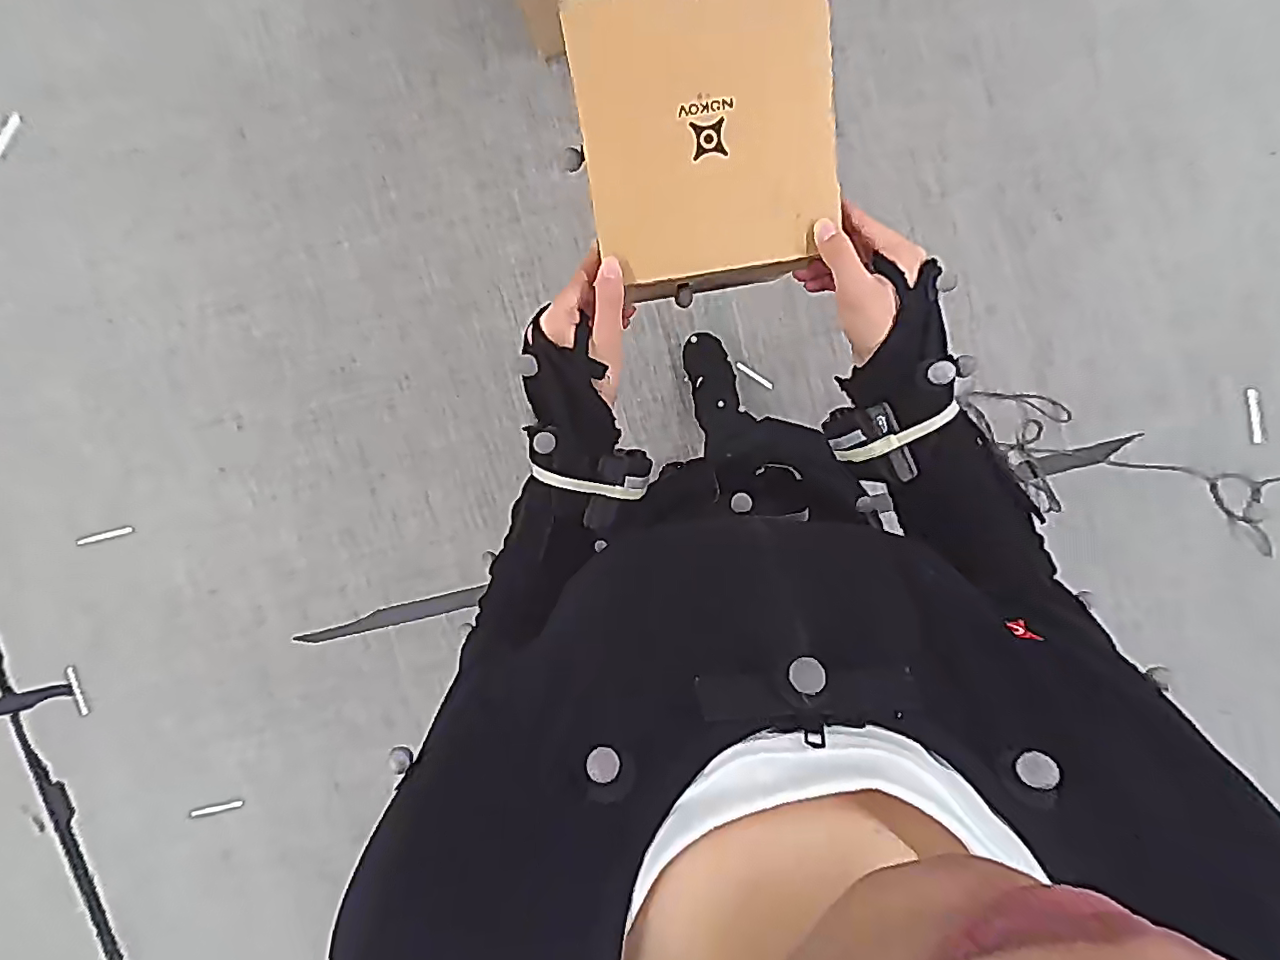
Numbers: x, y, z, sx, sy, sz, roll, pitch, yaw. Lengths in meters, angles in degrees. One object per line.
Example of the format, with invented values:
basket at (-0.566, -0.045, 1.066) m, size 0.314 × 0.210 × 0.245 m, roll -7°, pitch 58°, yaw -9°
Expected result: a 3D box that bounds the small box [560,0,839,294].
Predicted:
small box at (0.042, -0.249, 0.425) m, size 0.168 × 0.176 × 0.179 m, roll -9°, pitch 102°, yaw 2°
